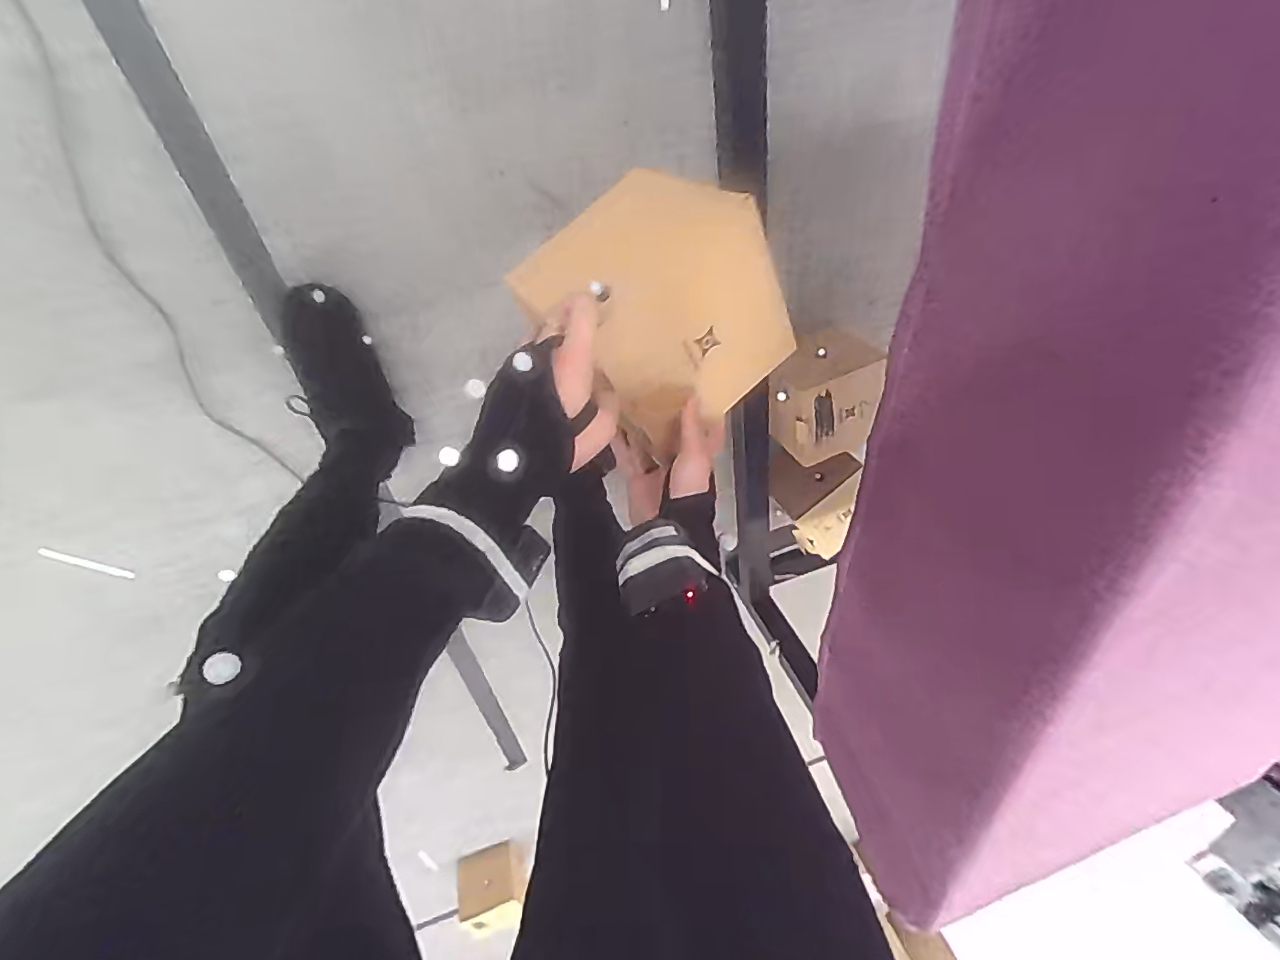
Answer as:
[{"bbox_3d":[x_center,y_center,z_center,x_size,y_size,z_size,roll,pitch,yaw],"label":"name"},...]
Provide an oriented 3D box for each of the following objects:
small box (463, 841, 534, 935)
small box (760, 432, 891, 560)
[{"bbox_3d":[-0.456,1.309,1.740,0.179,0.176,0.168,-18,127,-7],"label":"small box"},{"bbox_3d":[0.392,0.030,1.159,0.179,0.176,0.168,-40,126,9],"label":"small box"}]
